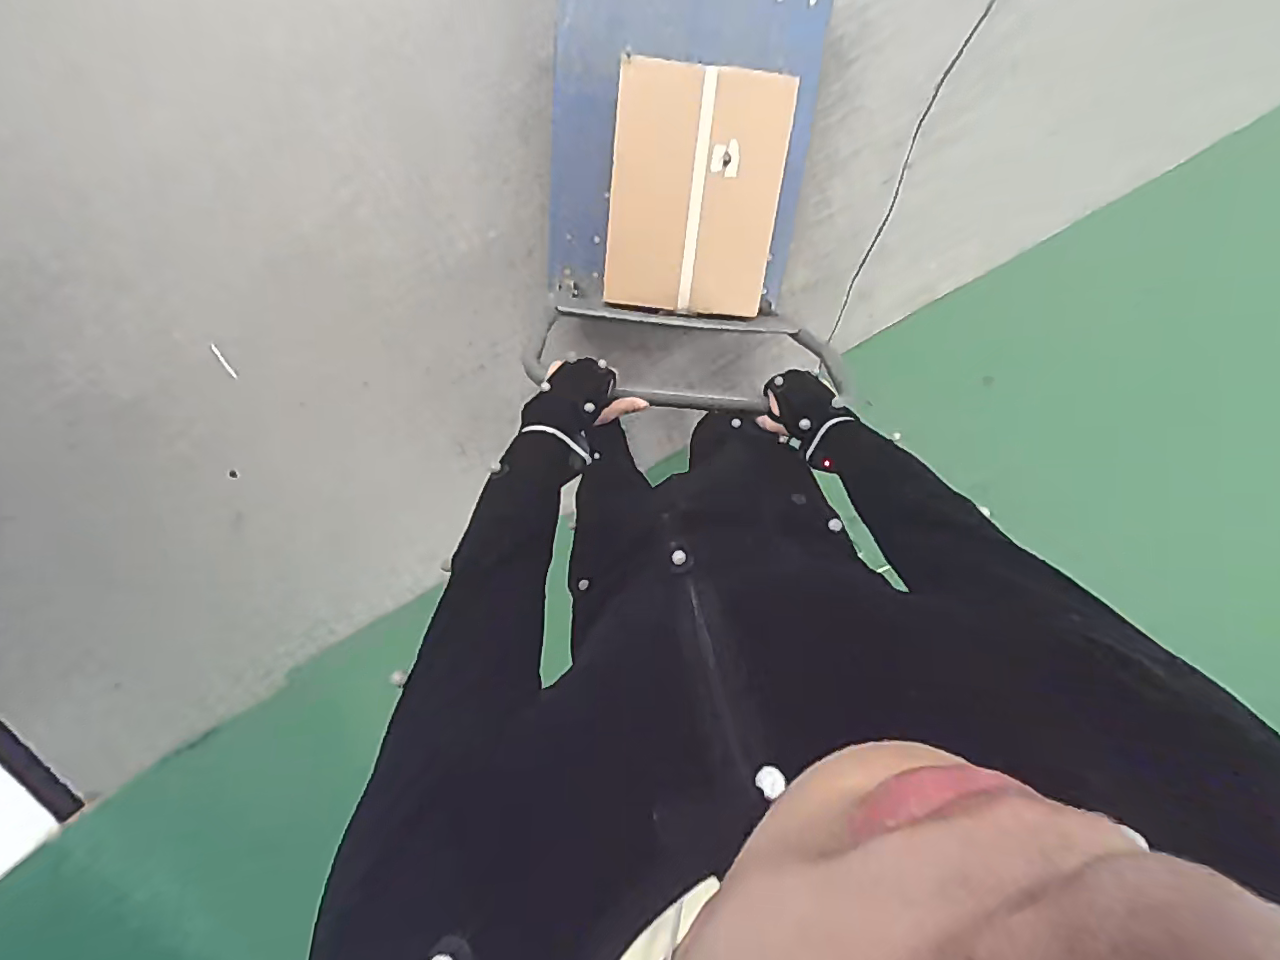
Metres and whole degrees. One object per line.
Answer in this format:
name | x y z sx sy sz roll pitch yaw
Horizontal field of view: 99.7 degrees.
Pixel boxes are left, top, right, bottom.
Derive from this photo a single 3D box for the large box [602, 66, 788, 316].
large box | 0.094 -0.579 1.162 0.320 0.320 0.408 5 111 -4
